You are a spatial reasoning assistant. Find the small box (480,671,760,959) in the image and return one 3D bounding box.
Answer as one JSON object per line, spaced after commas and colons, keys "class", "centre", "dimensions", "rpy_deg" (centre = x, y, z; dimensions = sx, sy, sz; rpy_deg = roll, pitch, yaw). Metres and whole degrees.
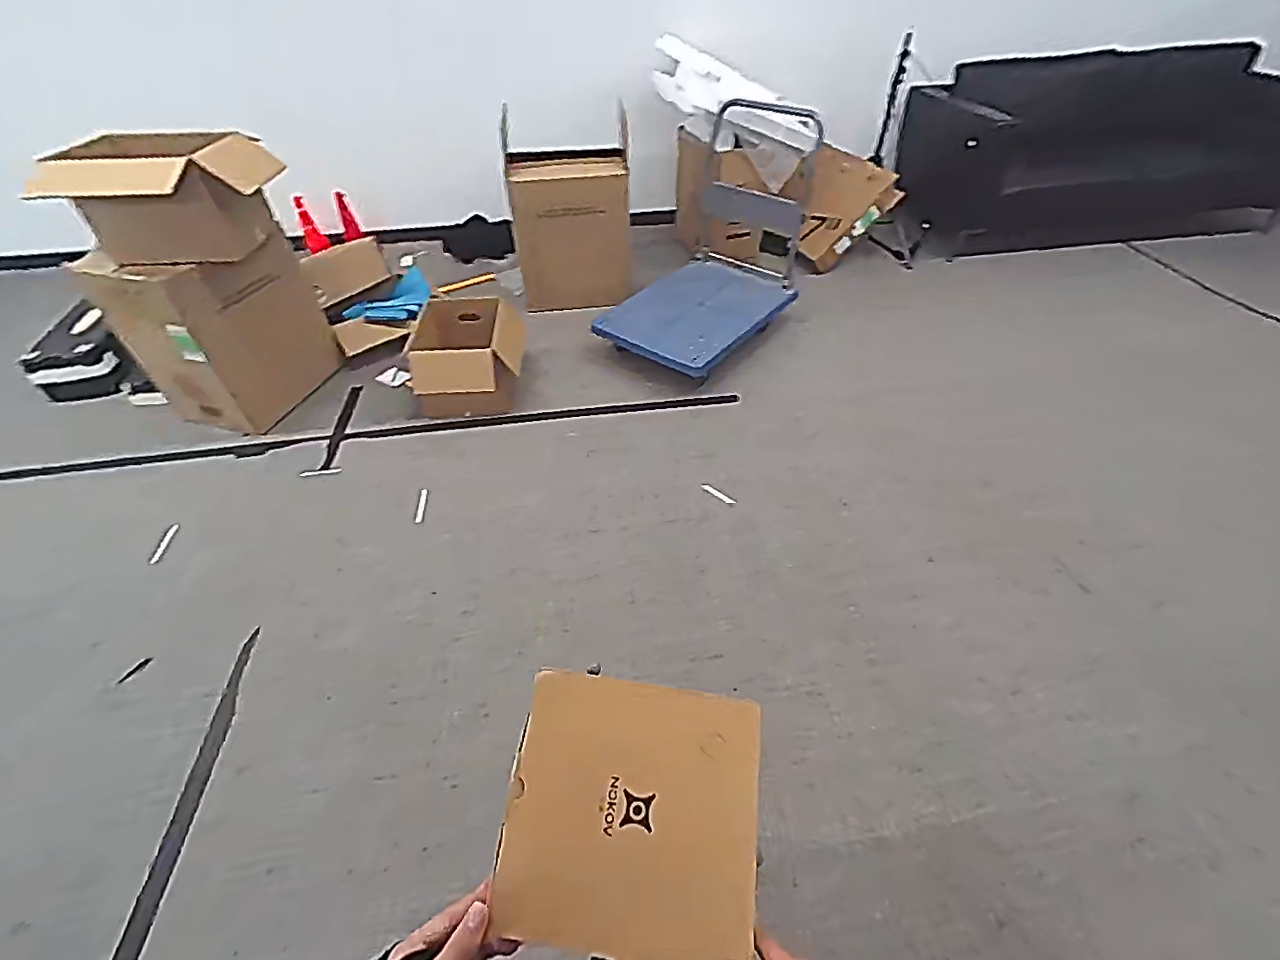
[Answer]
{"class": "small box", "centre": [-0.003, 0.265, 0.446], "dimensions": [0.179, 0.176, 0.168], "rpy_deg": [5, 63, 7]}
